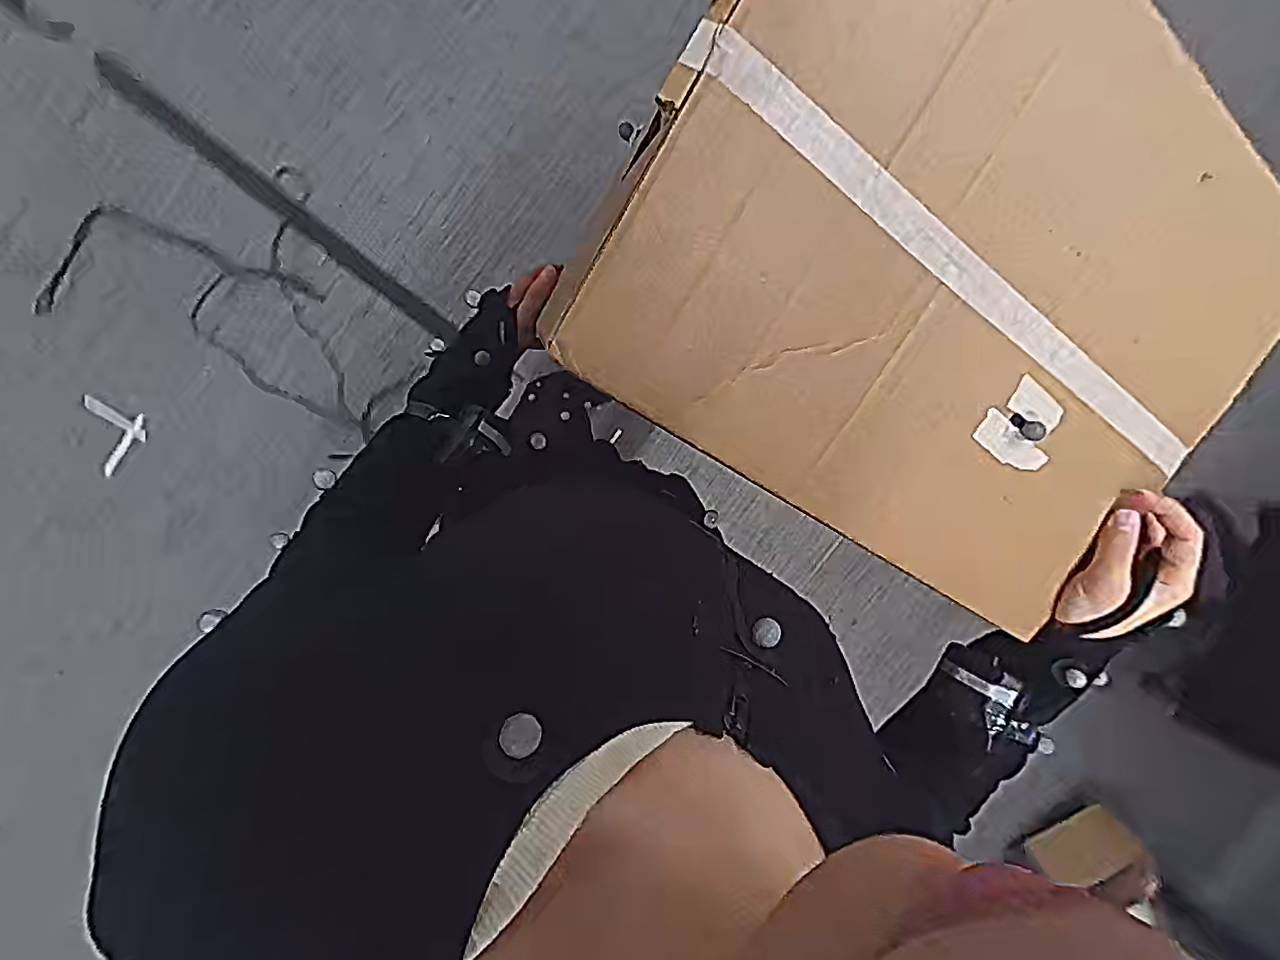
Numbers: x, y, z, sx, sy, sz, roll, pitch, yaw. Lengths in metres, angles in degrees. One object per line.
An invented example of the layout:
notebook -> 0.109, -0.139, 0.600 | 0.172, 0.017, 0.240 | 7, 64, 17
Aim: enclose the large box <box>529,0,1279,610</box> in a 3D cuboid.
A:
large box -> 0.158, -0.155, 0.455 | 0.408, 0.320, 0.320 | 27, 100, -20
